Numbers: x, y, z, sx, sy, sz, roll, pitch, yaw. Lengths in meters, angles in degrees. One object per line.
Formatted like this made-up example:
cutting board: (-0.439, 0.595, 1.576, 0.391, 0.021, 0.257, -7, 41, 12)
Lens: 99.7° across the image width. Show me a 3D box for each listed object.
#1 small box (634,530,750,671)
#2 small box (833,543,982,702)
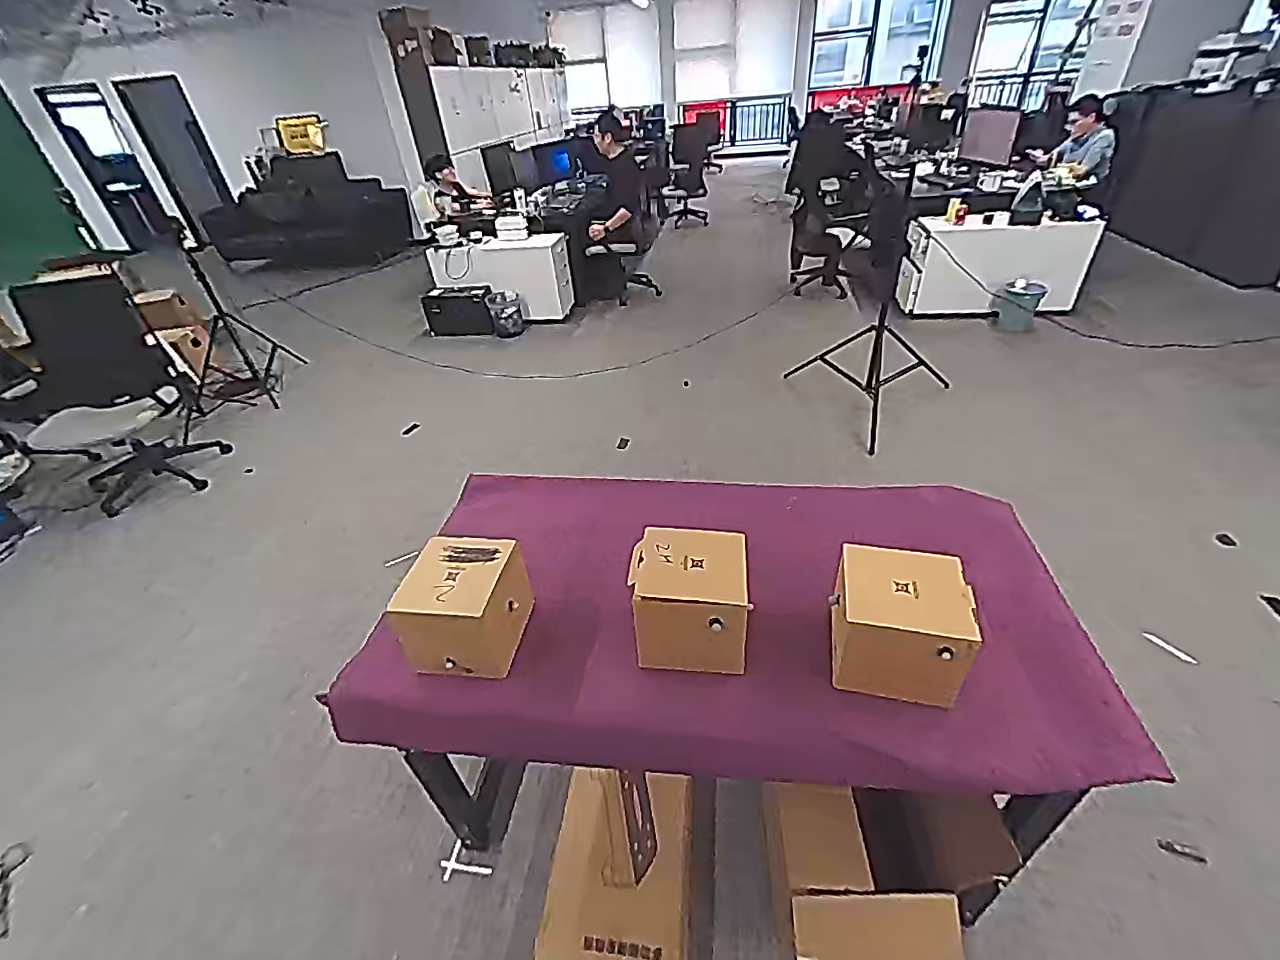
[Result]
small box: (0.091, 0.204, 0.917, 0.179, 0.176, 0.168, 0, 34, 9)
small box: (0.403, 0.222, 0.851, 0.179, 0.176, 0.168, 5, 38, 14)
